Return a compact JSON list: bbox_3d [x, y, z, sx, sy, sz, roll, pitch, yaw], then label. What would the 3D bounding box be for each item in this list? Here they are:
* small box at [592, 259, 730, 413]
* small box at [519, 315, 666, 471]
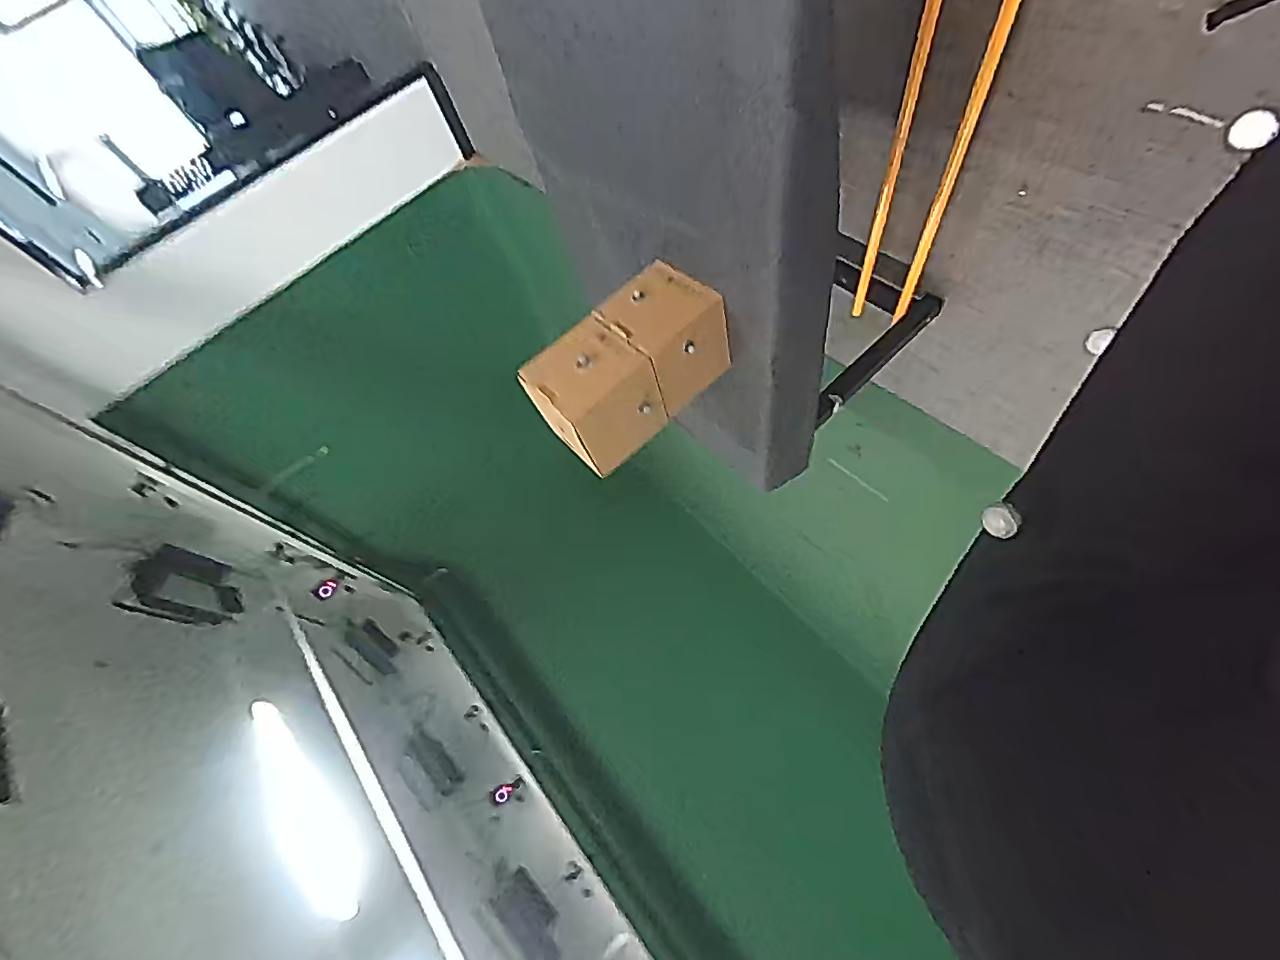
[{"bbox_3d":[0.046,-0.265,0.984,0.168,0.176,0.179,43,168,31],"label":"small box"},{"bbox_3d":[-0.076,-0.157,0.957,0.168,0.176,0.179,43,167,31],"label":"small box"}]
